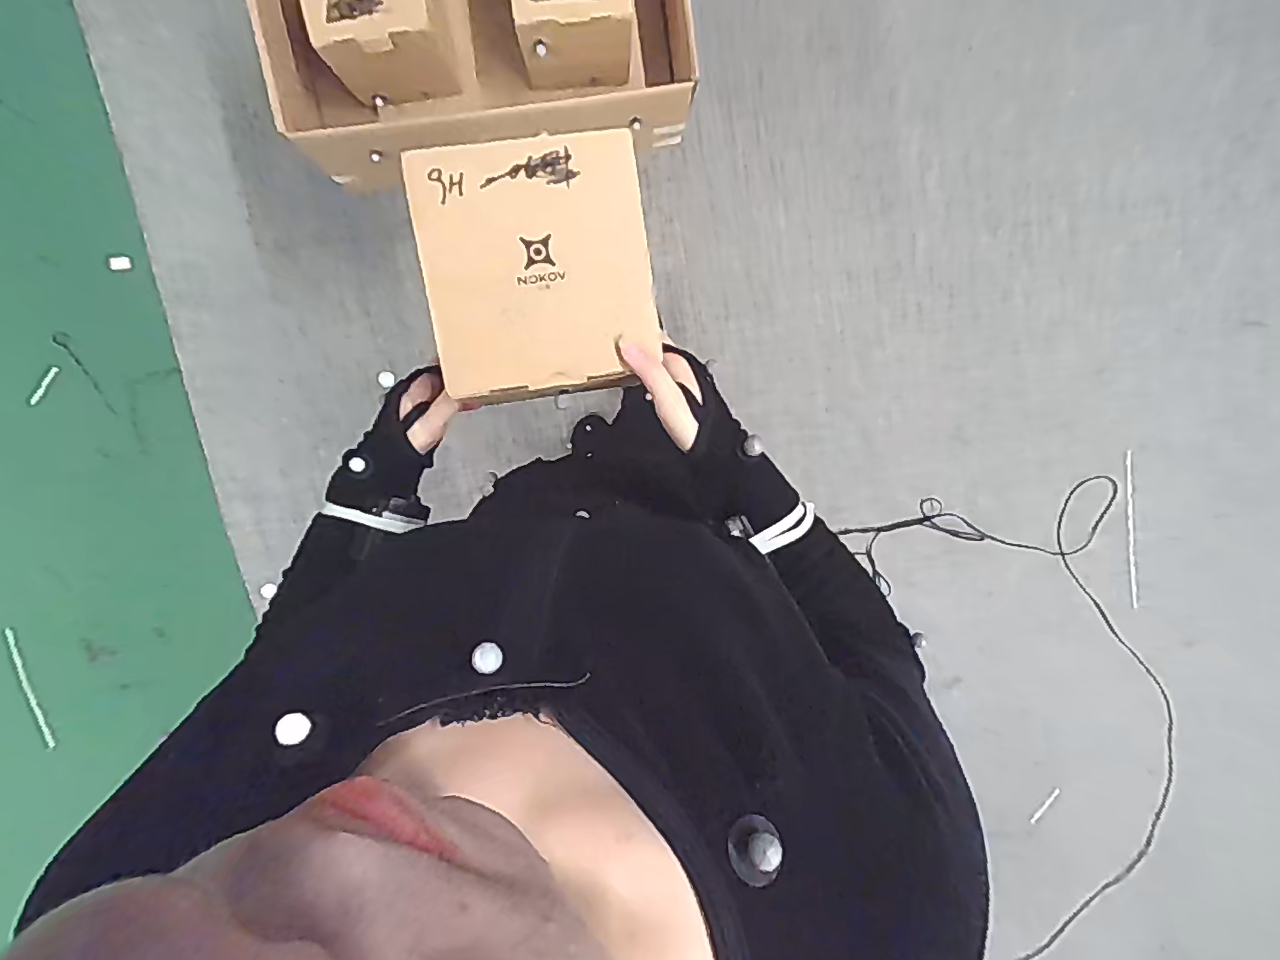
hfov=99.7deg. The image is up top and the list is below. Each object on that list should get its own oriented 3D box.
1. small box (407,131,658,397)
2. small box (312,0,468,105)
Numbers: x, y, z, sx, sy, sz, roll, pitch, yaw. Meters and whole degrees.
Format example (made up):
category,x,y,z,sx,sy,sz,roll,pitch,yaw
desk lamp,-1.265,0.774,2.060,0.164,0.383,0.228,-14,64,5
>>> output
category,x,y,z,sx,sy,sz,roll,pitch,yaw
small box,-0.082,-0.170,0.478,0.168,0.176,0.179,-8,98,-5
small box,-0.375,-0.703,0.817,0.168,0.176,0.179,-10,98,-1
